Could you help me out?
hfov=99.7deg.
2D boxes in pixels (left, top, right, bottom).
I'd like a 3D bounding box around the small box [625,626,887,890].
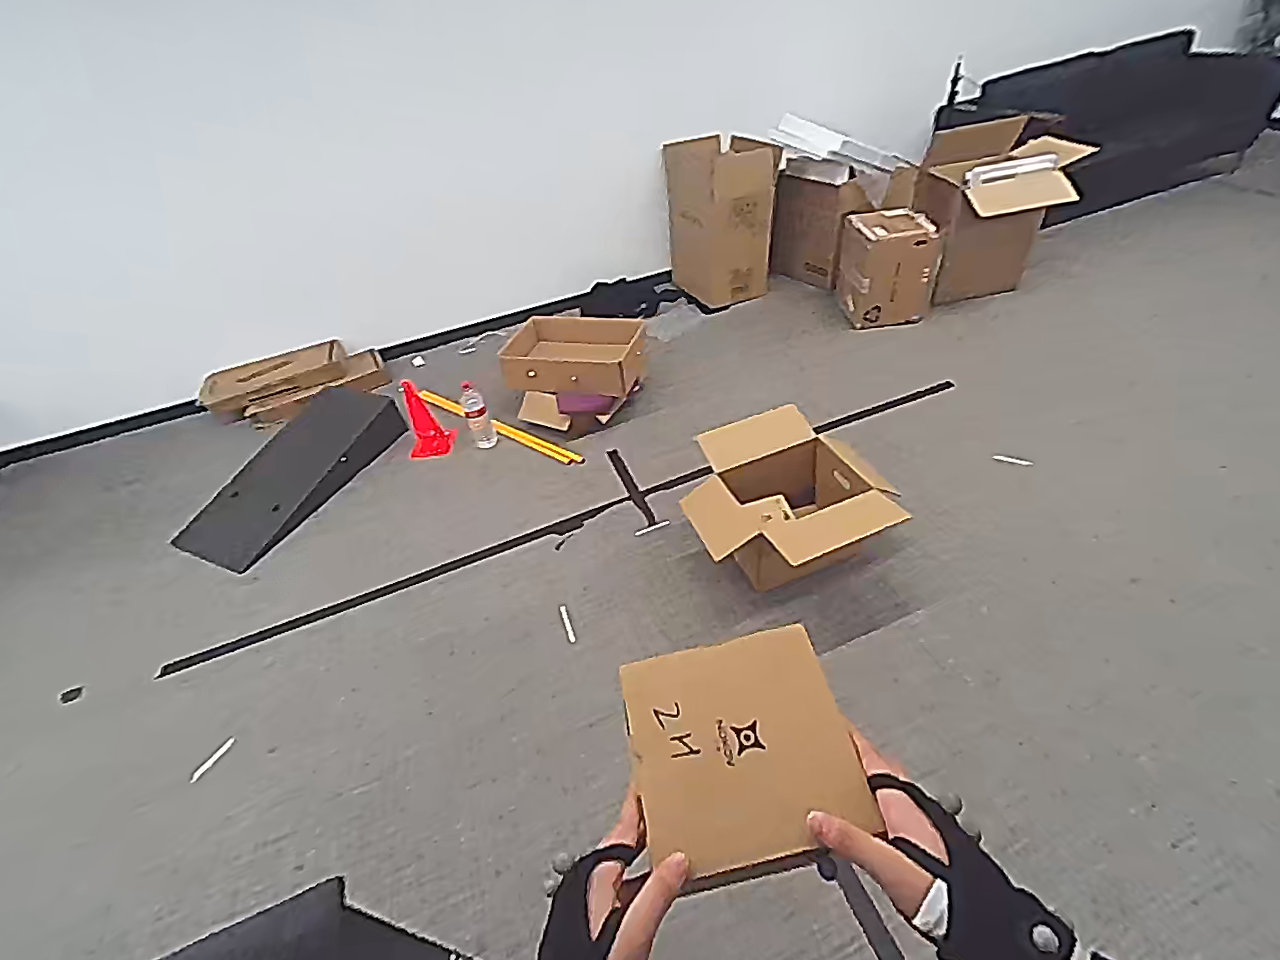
[{"bbox_3d":[0.093,0.261,0.502,0.179,0.176,0.168,-13,50,0],"label":"small box"}]
